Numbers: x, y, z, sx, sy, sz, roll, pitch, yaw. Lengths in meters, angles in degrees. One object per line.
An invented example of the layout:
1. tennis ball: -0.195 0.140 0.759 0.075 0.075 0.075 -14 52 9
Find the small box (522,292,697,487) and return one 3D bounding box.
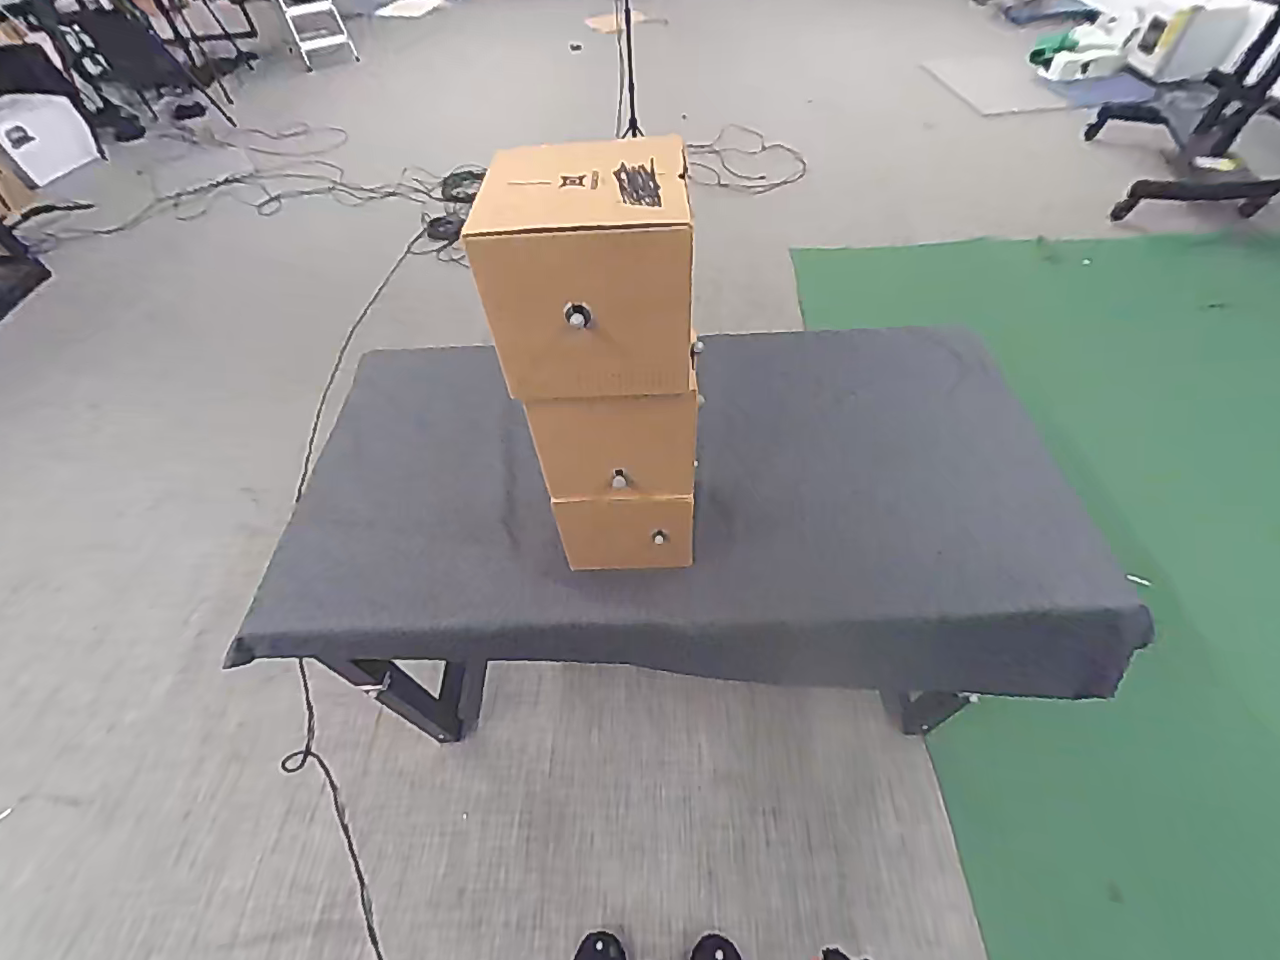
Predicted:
1. small box: -0.028 -0.104 0.644 0.179 0.176 0.168 -2 52 2

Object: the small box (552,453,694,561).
1. small box: -0.017 0.002 0.768 0.179 0.176 0.168 -4 51 3

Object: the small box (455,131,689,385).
1. small box: -0.045 -0.204 0.511 0.179 0.176 0.168 1 51 5
